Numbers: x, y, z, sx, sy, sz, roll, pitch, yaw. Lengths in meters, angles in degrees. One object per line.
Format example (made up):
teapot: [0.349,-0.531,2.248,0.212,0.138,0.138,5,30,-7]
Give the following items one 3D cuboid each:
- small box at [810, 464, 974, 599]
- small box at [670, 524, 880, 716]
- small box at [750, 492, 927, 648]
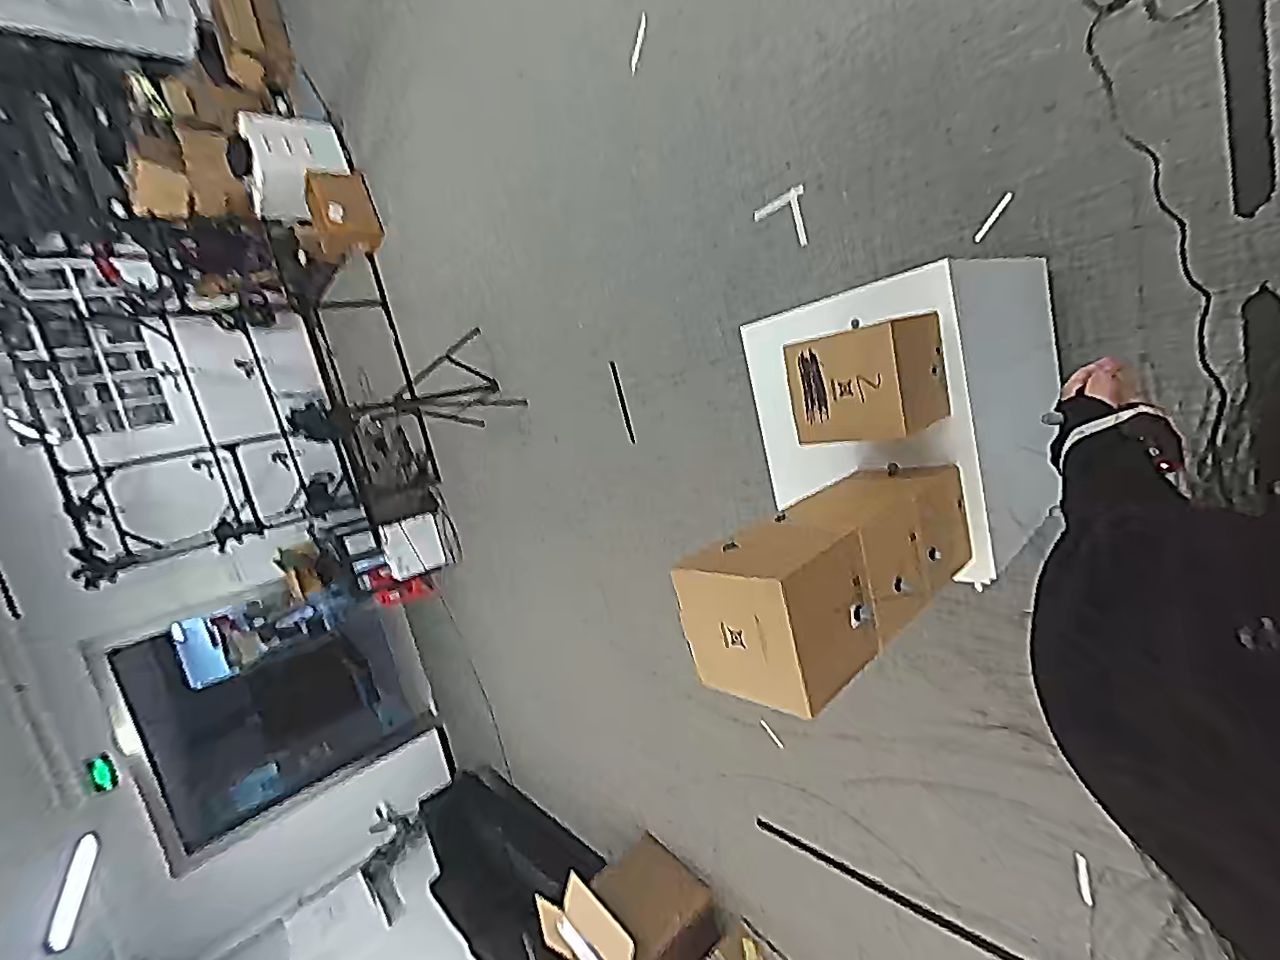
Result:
small box: [0.412,0.075,0.884,0.179,0.176,0.168,-3,104,52]
small box: [0.171,0.160,0.684,0.179,0.176,0.168,-6,102,51]
small box: [0.293,0.118,0.783,0.179,0.176,0.168,-5,101,52]
